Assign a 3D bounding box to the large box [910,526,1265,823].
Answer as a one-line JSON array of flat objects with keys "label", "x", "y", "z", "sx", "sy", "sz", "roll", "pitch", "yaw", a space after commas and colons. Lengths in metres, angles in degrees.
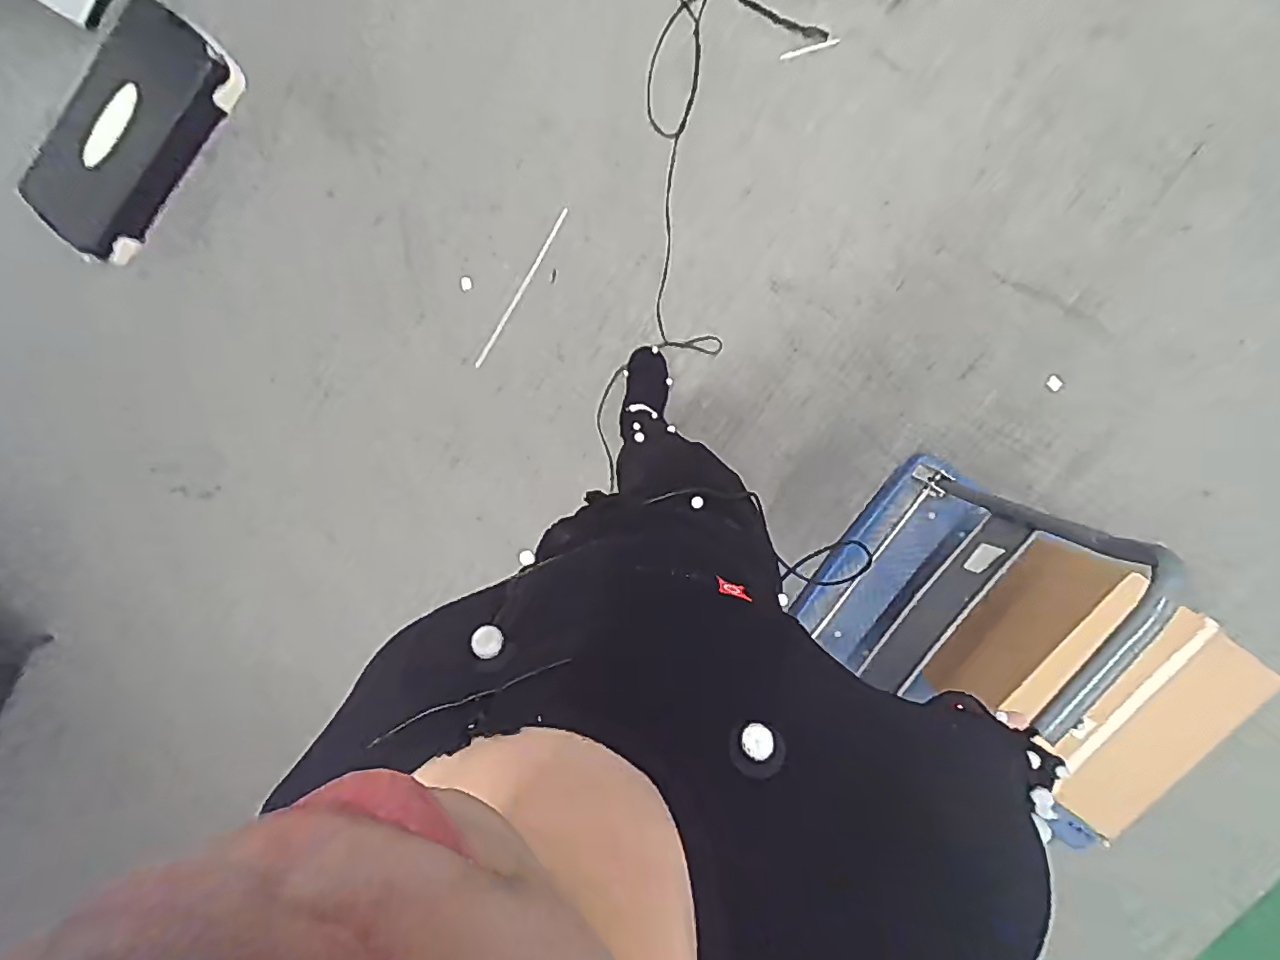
[{"label": "large box", "x": 0.852, "y": 0.363, "z": 1.103, "sx": 0.320, "sy": 0.320, "sz": 0.408, "roll": 37, "pitch": 100, "yaw": 2}]
